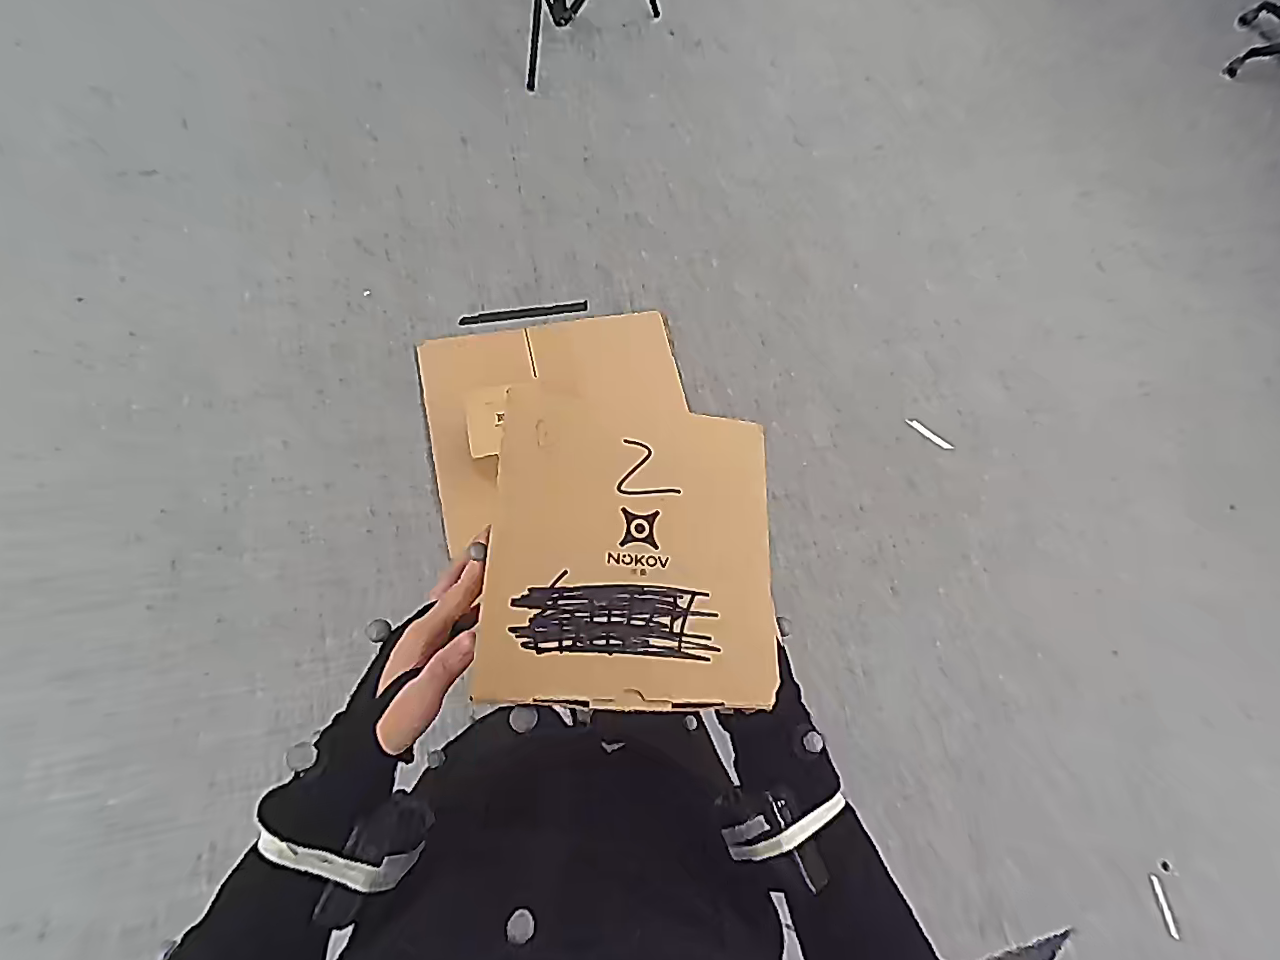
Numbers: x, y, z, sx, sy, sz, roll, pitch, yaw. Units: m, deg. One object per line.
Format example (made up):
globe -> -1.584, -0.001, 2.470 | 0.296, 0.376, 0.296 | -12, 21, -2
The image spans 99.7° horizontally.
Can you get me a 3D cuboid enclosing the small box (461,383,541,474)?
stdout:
small box -> -0.342, -0.121, 1.354 | 0.168, 0.176, 0.179 | -10, 76, -13
